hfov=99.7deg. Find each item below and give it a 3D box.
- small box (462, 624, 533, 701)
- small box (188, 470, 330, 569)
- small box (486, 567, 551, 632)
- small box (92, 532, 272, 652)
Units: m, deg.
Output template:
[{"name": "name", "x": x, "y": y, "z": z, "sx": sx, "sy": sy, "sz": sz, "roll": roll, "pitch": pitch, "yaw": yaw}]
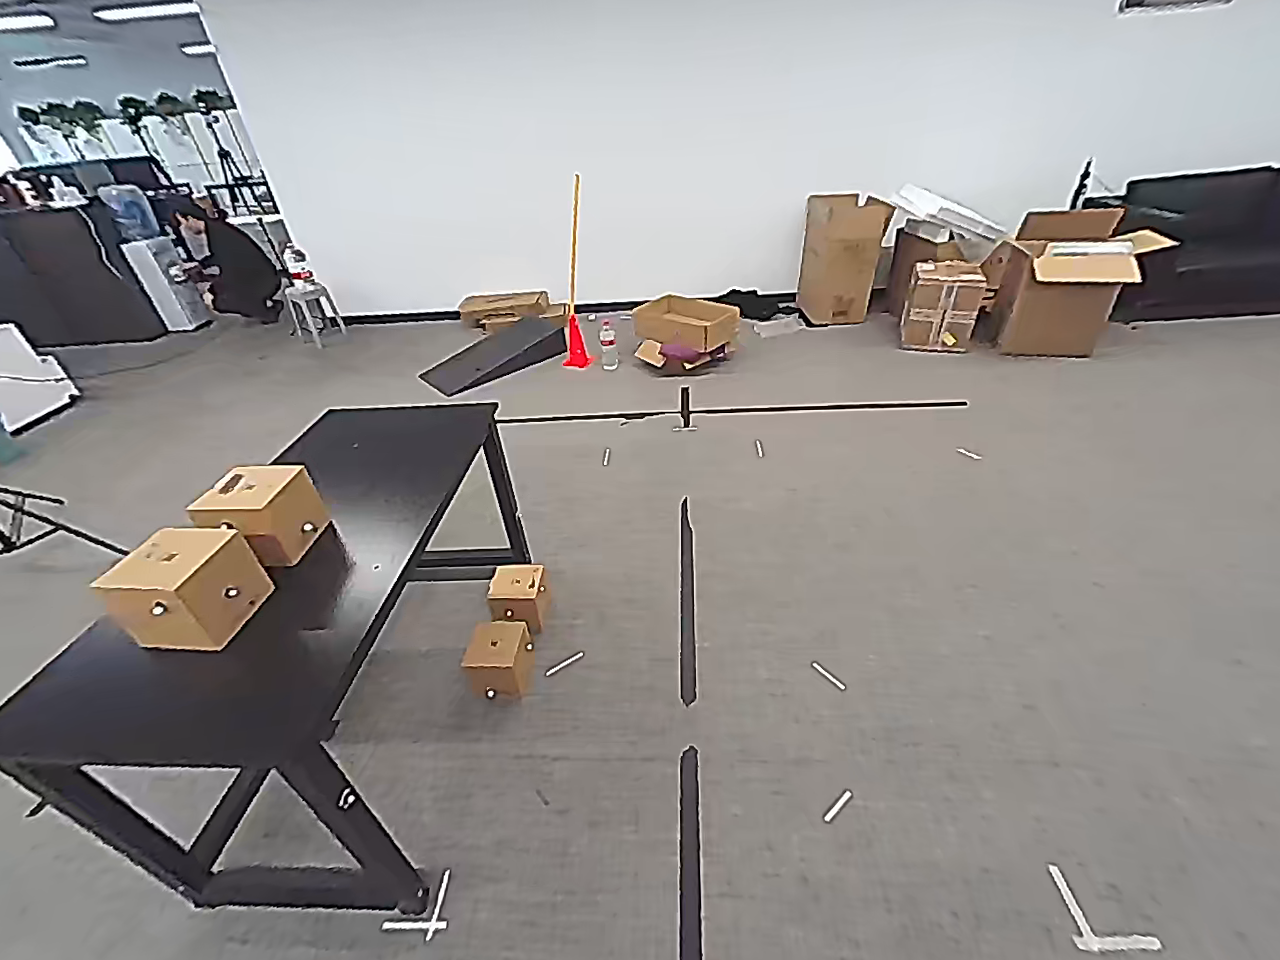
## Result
[{"name": "small box", "x": -0.454, "y": 0.592, "z": 1.760, "sx": 0.168, "sy": 0.176, "sz": 0.179, "roll": -3, "pitch": 36, "yaw": 5}, {"name": "small box", "x": -0.866, "y": 0.092, "z": 1.248, "sx": 0.179, "sy": 0.176, "sz": 0.168, "roll": -1, "pitch": 35, "yaw": 4}, {"name": "small box", "x": -0.437, "y": 0.438, "z": 1.972, "sx": 0.179, "sy": 0.176, "sz": 0.168, "roll": -3, "pitch": 36, "yaw": 4}, {"name": "small box", "x": -0.882, "y": 0.221, "z": 1.065, "sx": 0.179, "sy": 0.176, "sz": 0.168, "roll": 0, "pitch": 35, "yaw": 7}]
